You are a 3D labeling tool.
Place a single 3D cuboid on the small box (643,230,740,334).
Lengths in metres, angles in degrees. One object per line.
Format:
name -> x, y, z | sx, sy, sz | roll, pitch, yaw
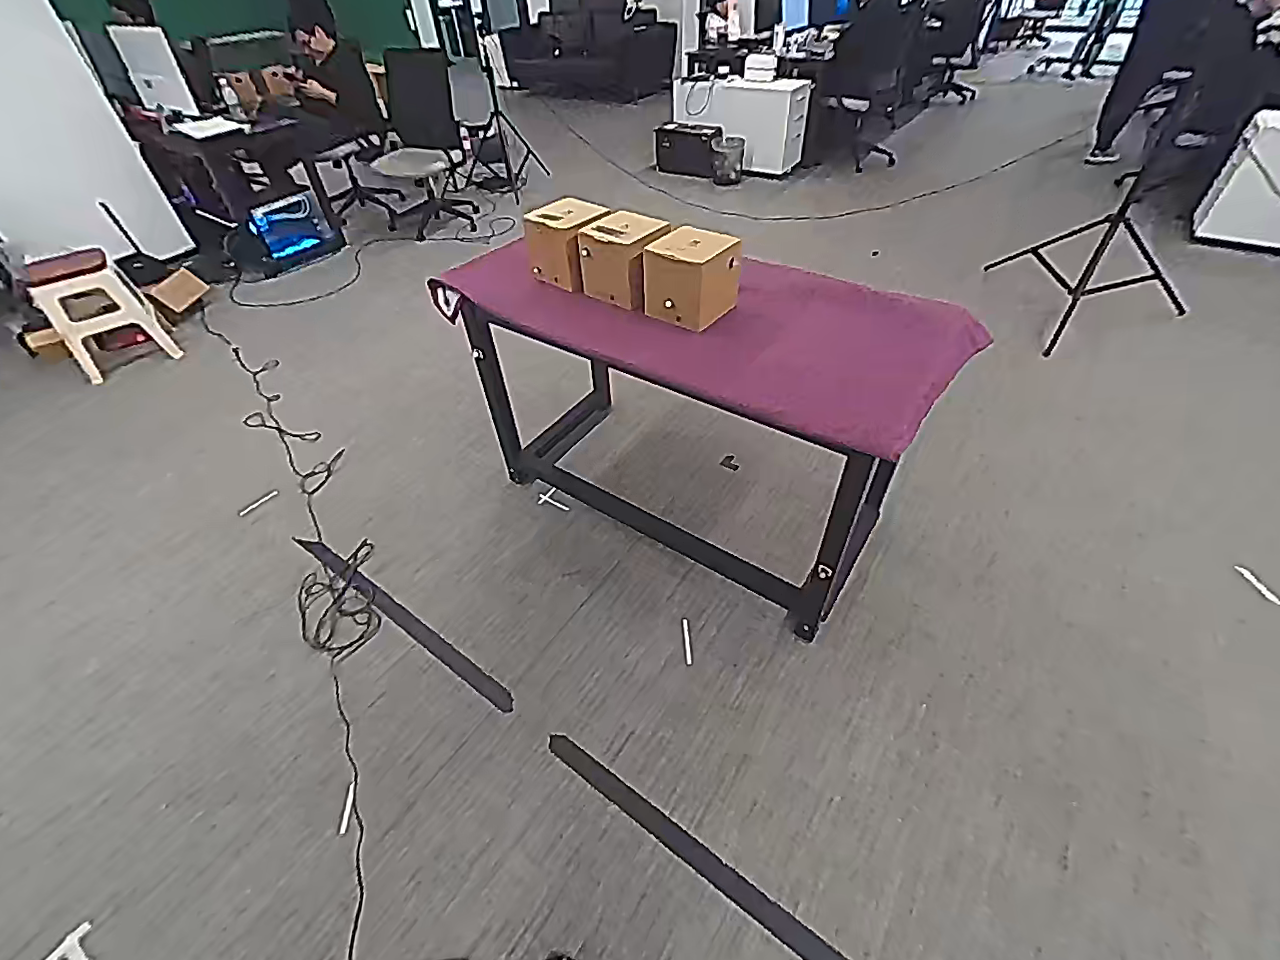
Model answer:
small box -> 0.123, -0.482, 1.316 | 0.168, 0.176, 0.179 | 27, 52, 28
